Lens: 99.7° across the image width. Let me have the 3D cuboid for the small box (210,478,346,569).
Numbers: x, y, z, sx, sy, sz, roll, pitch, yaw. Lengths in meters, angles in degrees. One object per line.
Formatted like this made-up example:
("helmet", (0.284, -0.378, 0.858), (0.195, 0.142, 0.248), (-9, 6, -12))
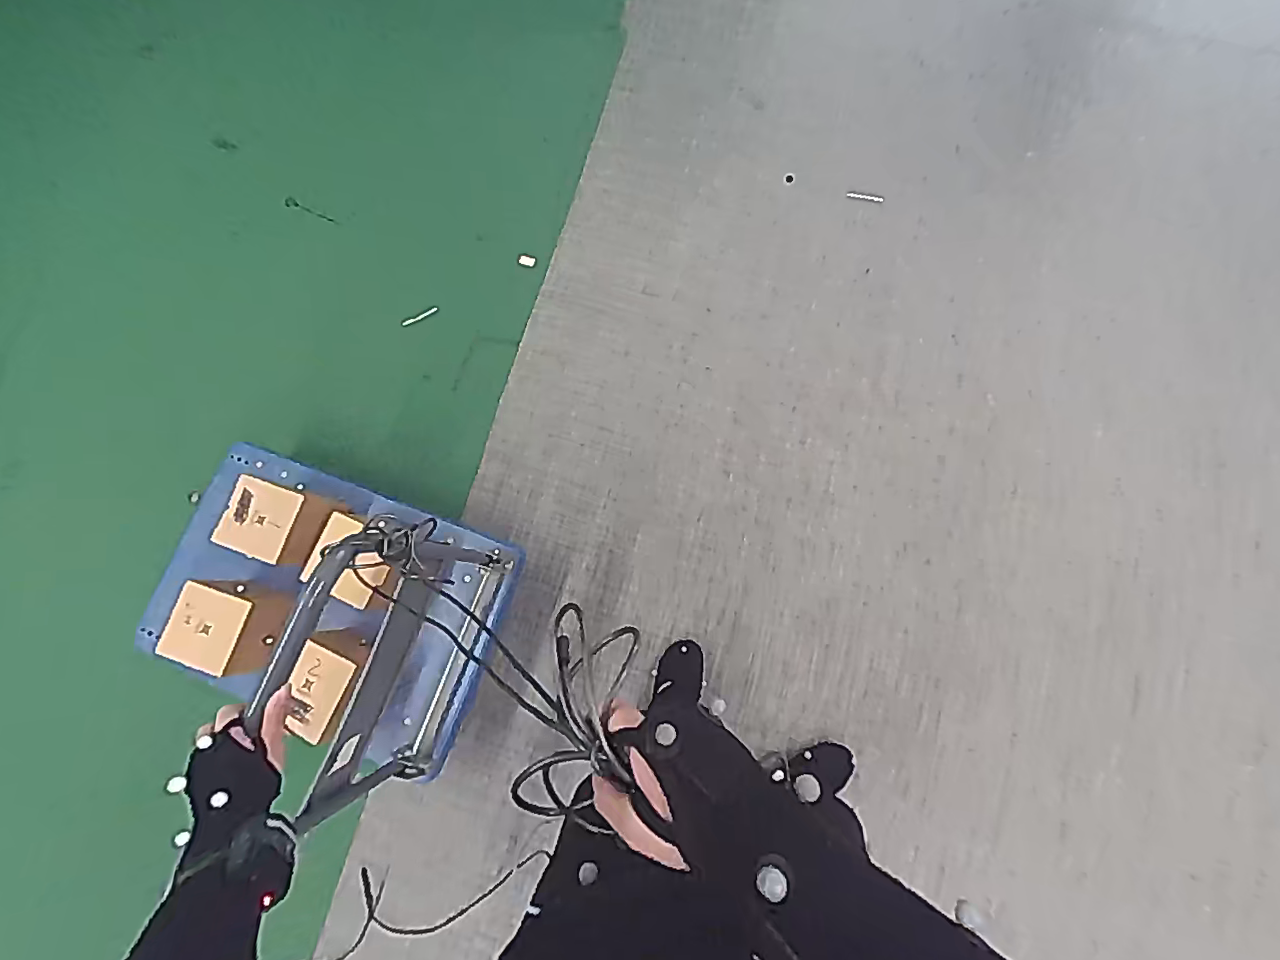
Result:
("small box", (-0.858, 0.112, 1.298), (0.179, 0.176, 0.168), (18, 81, 8))

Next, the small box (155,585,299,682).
("small box", (-0.947, 0.349, 1.258), (0.179, 0.176, 0.168), (16, 80, 9))

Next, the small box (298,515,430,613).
("small box", (-0.631, 0.199, 1.257), (0.179, 0.176, 0.168), (21, 81, 9))
